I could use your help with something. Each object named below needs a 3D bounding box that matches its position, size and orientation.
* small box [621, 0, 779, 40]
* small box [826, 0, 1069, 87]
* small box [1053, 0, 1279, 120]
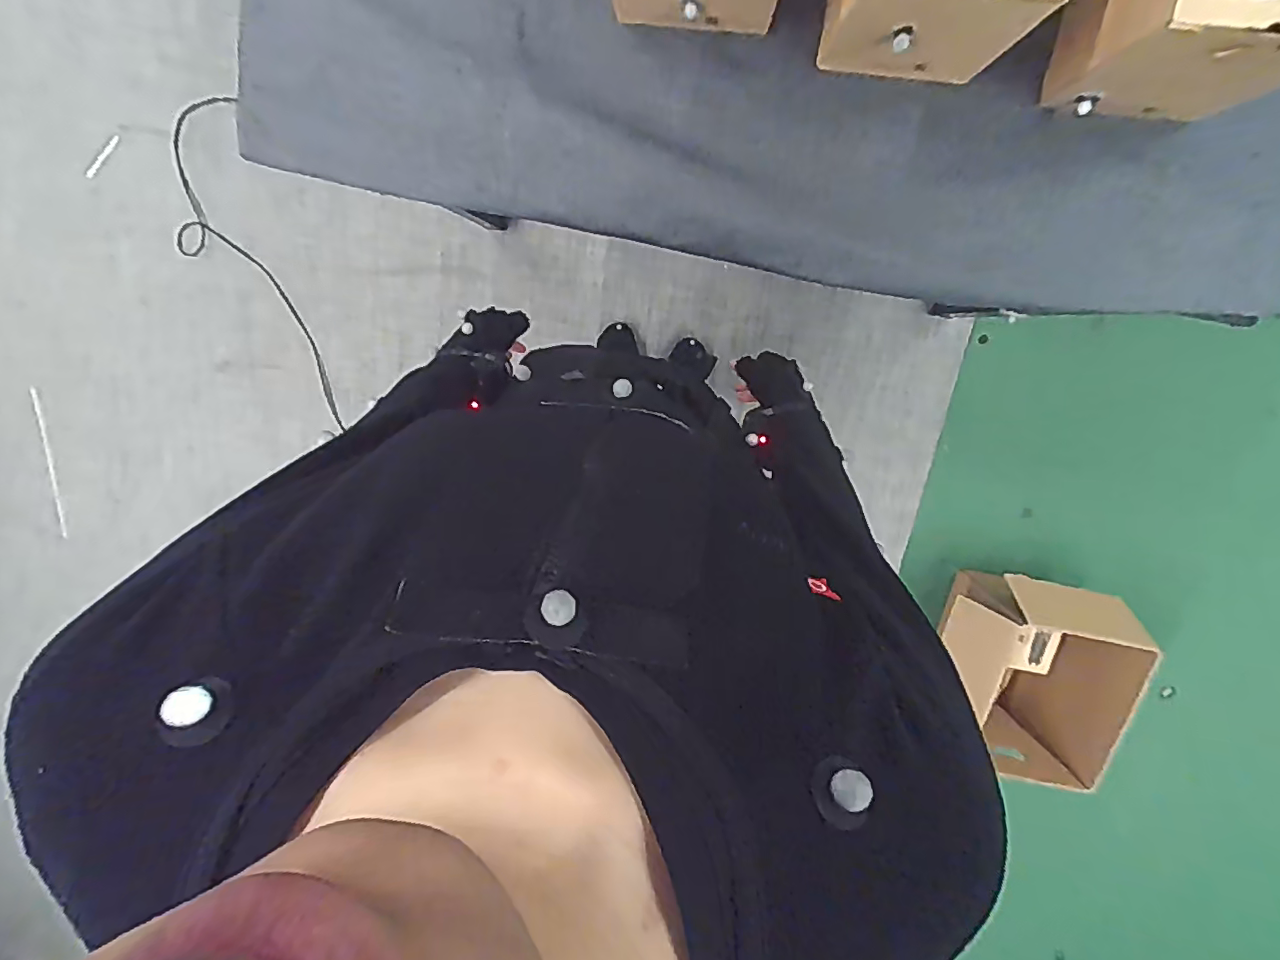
[{"bbox_3d":[0.062,-0.545,0.484,0.168,0.176,0.179,7,106,2],"label":"small box"},{"bbox_3d":[0.279,-0.489,0.485,0.168,0.176,0.179,8,106,2],"label":"small box"},{"bbox_3d":[0.516,-0.447,0.477,0.168,0.176,0.179,7,105,2],"label":"small box"}]
